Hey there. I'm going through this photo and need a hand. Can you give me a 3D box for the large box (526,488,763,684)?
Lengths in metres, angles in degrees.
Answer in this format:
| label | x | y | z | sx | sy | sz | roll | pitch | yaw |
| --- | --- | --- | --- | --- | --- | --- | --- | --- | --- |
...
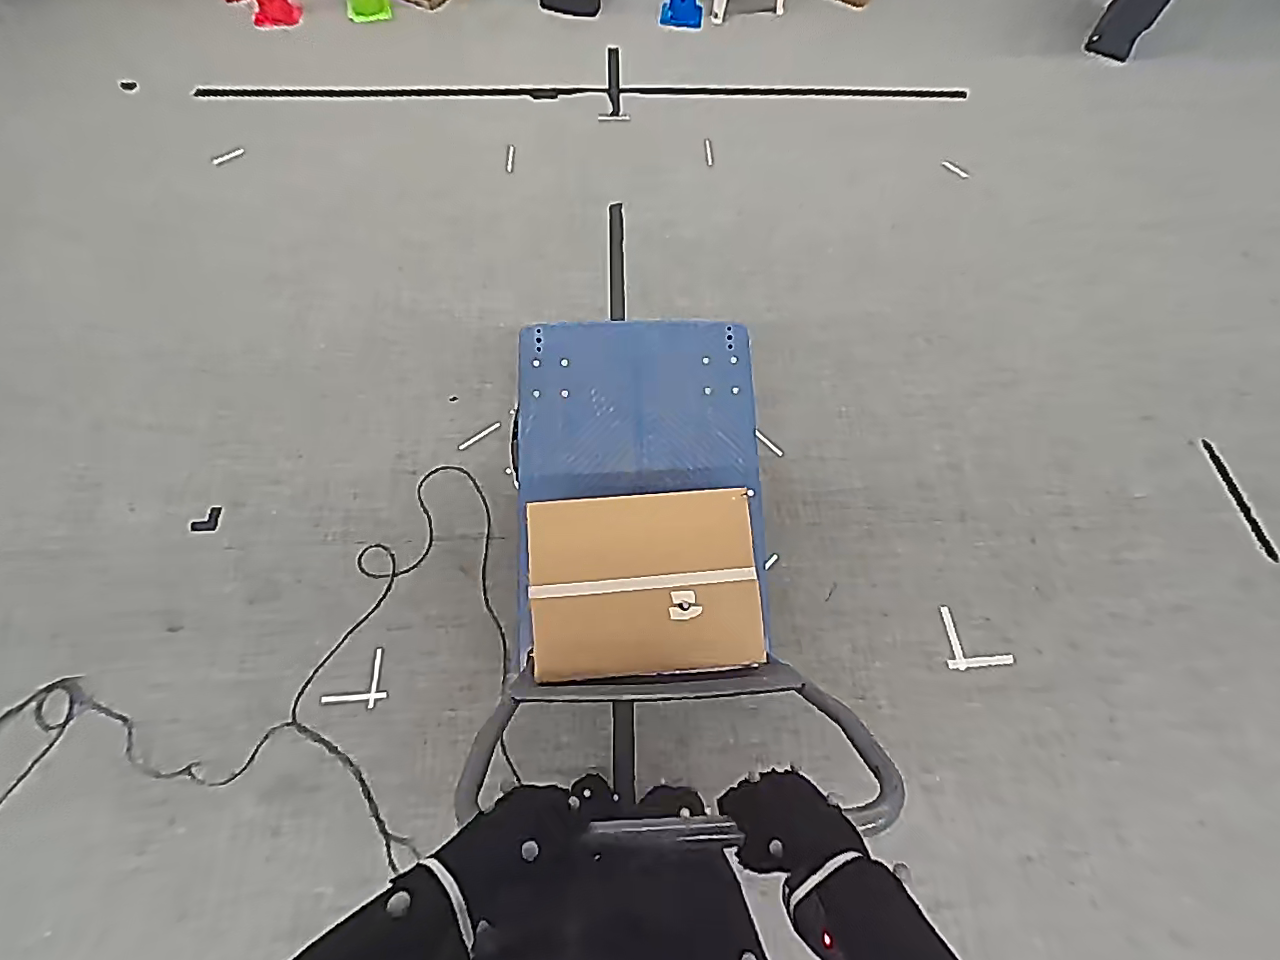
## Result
| label | x | y | z | sx | sy | sz | roll | pitch | yaw |
| --- | --- | --- | --- | --- | --- | --- | --- | --- | --- |
| large box | -0.004 | 0.207 | 1.102 | 0.408 | 0.320 | 0.320 | -4 | 81 | -4 |
